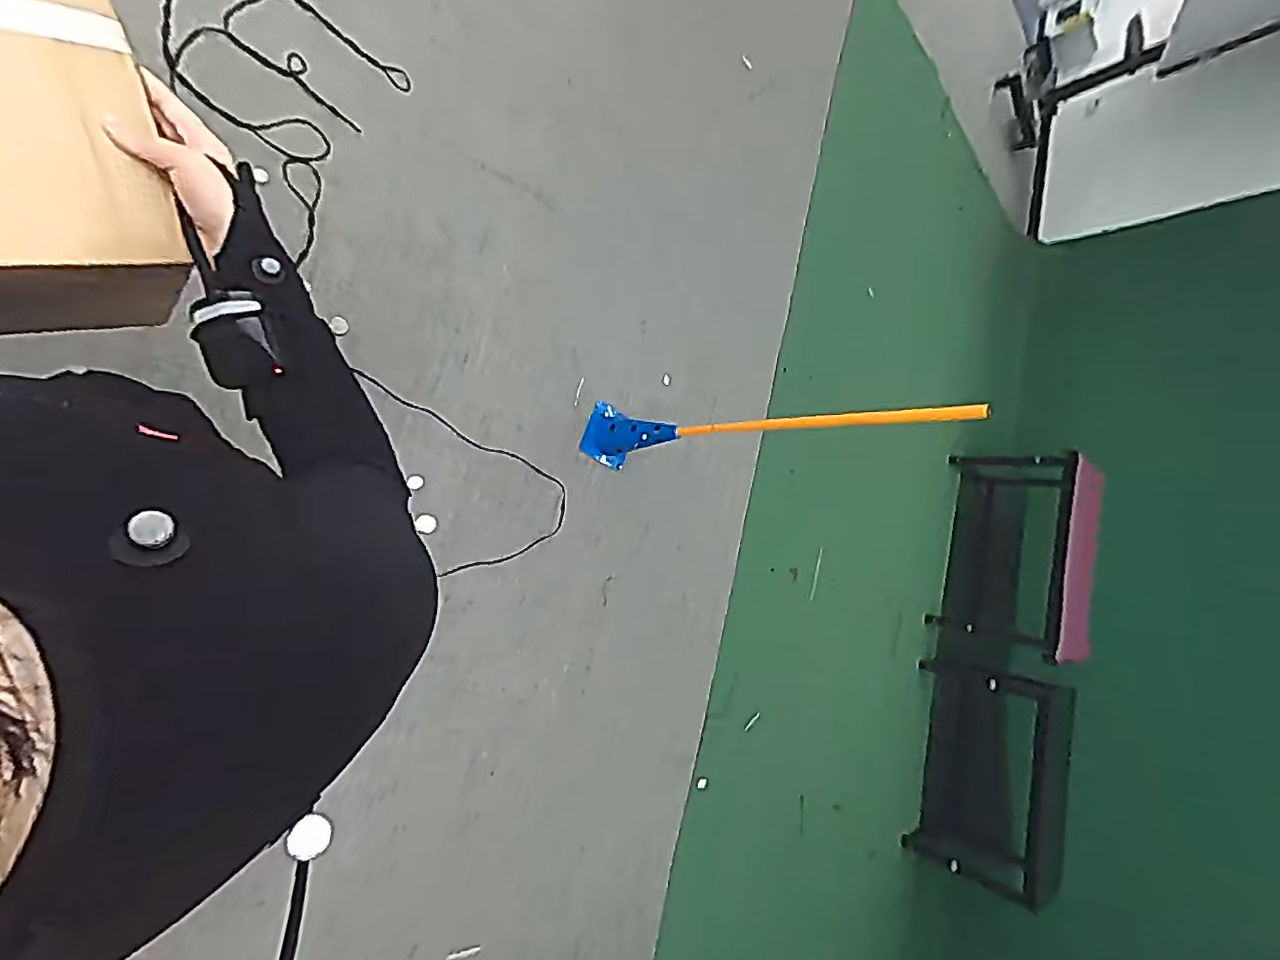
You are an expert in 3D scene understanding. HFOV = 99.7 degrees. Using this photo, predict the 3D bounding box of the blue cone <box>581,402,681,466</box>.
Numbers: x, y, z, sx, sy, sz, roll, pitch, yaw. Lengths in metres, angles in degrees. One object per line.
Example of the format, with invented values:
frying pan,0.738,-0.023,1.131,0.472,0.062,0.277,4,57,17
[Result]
blue cone,-0.014,-0.157,1.798,0.192,0.380,0.193,31,72,-38

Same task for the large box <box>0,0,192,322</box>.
large box,-0.626,-0.281,0.371,0.408,0.320,0.320,-22,109,-43
